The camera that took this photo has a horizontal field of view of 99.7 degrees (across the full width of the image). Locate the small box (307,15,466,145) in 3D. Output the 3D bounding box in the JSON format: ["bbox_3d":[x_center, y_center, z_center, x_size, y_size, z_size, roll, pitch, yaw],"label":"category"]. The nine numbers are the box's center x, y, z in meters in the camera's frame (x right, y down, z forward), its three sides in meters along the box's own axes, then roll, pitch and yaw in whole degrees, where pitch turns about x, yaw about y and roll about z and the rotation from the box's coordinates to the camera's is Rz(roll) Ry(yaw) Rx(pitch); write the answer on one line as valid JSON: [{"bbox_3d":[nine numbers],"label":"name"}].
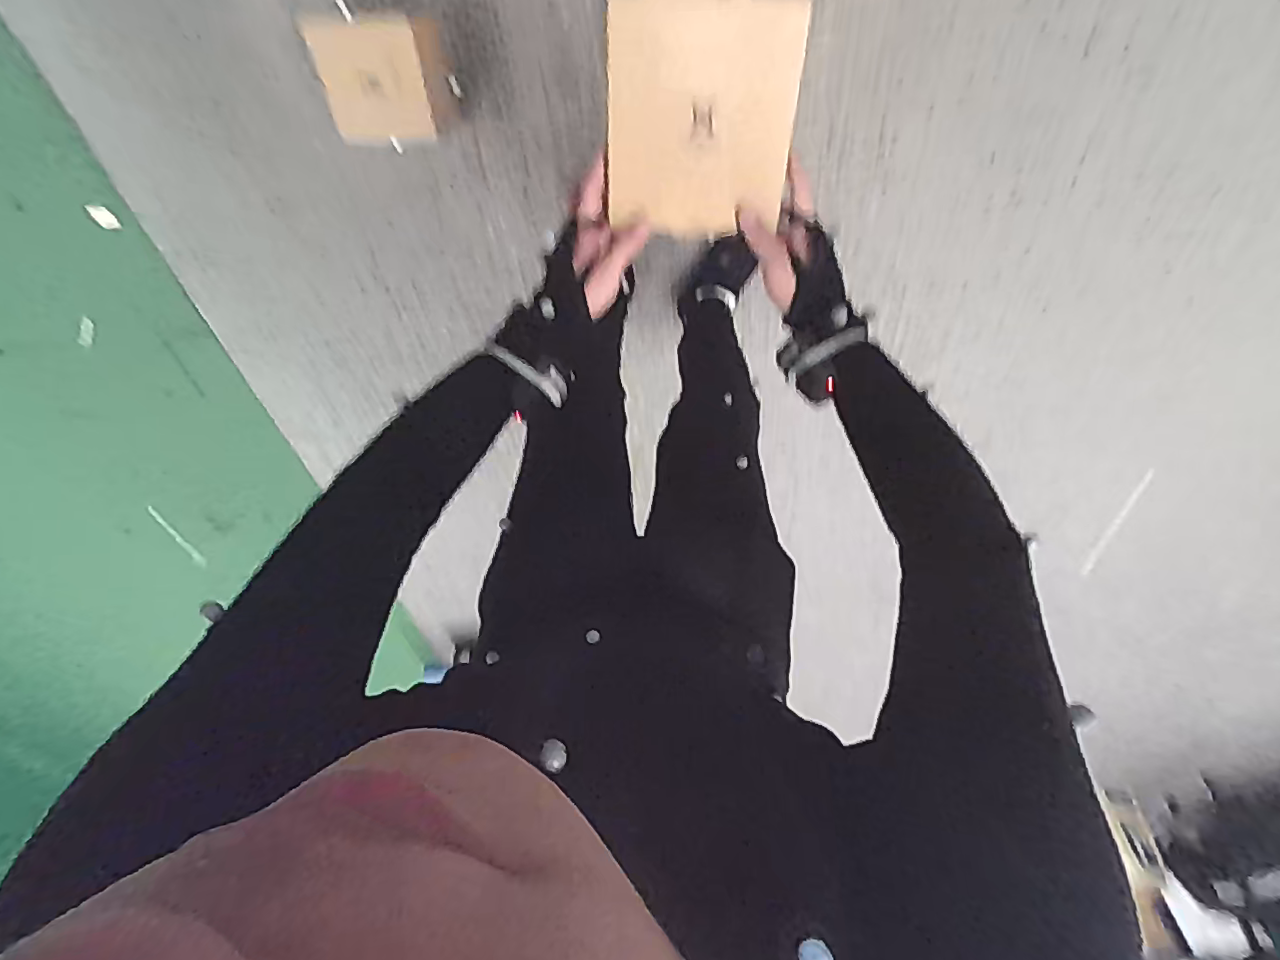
[{"bbox_3d":[-0.425,-0.697,0.941,0.179,0.176,0.168,1,133,2],"label":"small box"}]

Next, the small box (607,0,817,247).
[{"bbox_3d":[0.052,-0.343,0.535,0.168,0.176,0.179,-1,126,-4],"label":"small box"}]
